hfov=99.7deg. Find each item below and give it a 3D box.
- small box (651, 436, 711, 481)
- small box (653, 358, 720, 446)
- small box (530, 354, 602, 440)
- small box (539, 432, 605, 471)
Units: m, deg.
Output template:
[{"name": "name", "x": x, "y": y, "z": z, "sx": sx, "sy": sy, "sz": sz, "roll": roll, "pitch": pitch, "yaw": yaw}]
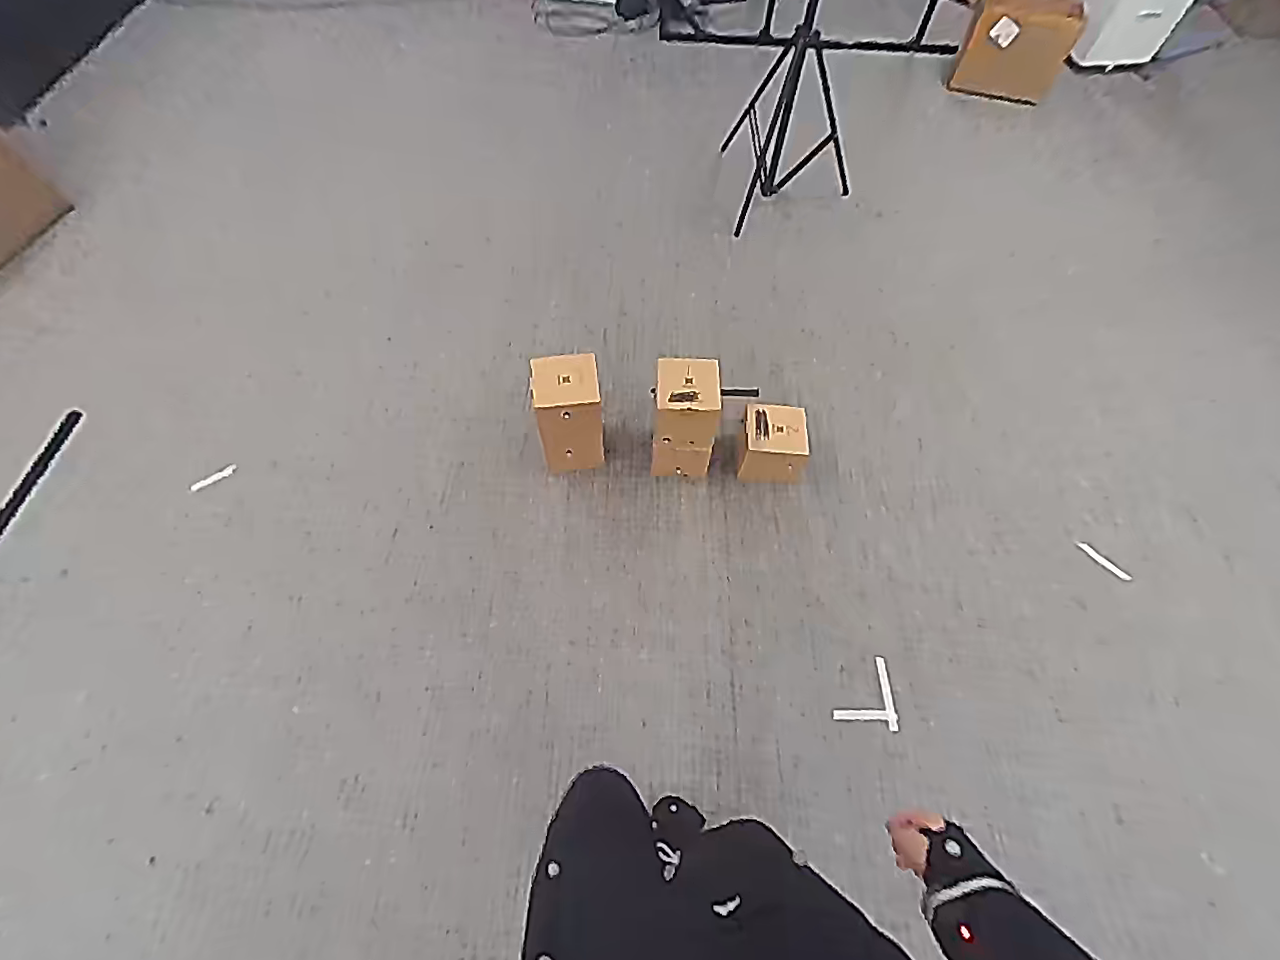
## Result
[{"name": "small box", "x": 0.123, "y": -0.119, "z": 1.617, "sx": 0.168, "sy": 0.176, "sz": 0.179, "roll": 5, "pitch": 61, "yaw": 2}, {"name": "small box", "x": 0.124, "y": -0.209, "z": 1.478, "sx": 0.168, "sy": 0.176, "sz": 0.179, "roll": 2, "pitch": 60, "yaw": -1}, {"name": "small box", "x": -0.199, "y": -0.222, "z": 1.479, "sx": 0.179, "sy": 0.176, "sz": 0.168, "roll": -6, "pitch": 62, "yaw": -6}, {"name": "small box", "x": -0.206, "y": -0.142, "z": 1.621, "sx": 0.179, "sy": 0.176, "sz": 0.168, "roll": -8, "pitch": 62, "yaw": -5}]
